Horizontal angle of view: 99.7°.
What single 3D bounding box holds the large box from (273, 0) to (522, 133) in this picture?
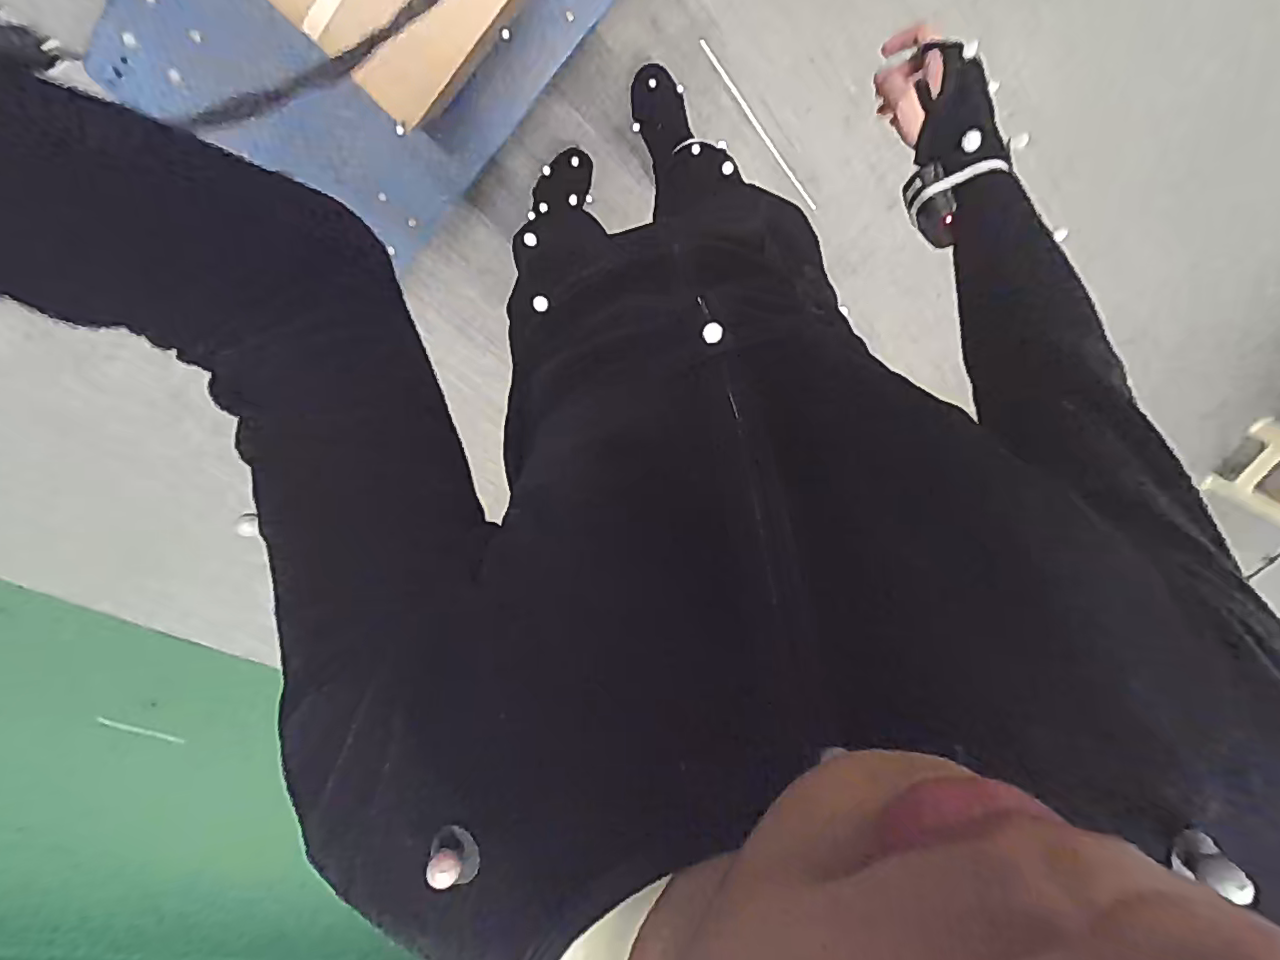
[{"bbox_3d":[-0.333,-0.821,0.802,0.408,0.320,0.320,-39,124,18],"label":"large box"}]
